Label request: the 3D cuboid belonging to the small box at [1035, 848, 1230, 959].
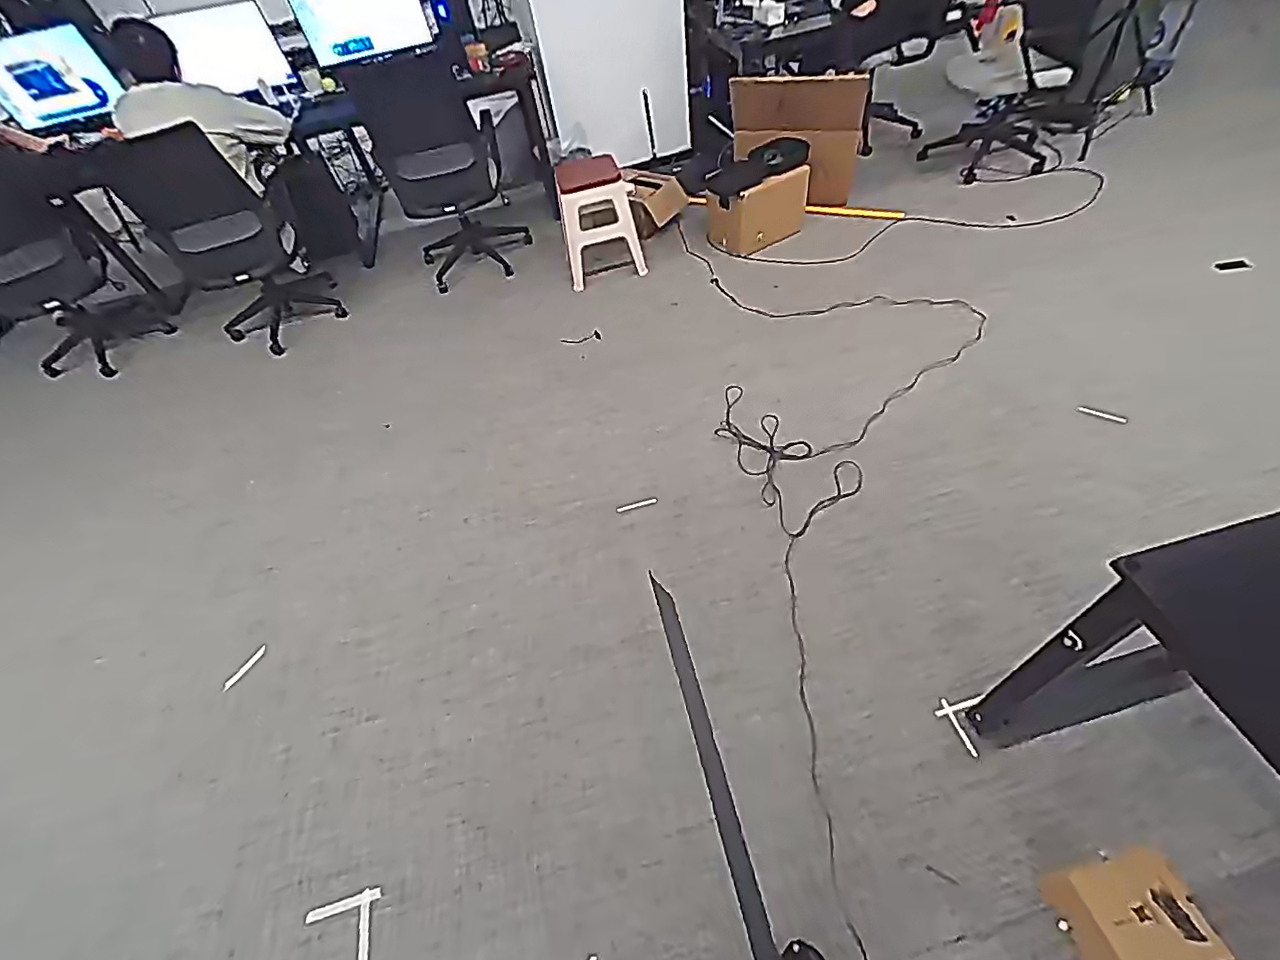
[{"bbox_3d":[0.900,0.812,1.011,0.179,0.176,0.168,-17,50,-2],"label":"small box"}]
